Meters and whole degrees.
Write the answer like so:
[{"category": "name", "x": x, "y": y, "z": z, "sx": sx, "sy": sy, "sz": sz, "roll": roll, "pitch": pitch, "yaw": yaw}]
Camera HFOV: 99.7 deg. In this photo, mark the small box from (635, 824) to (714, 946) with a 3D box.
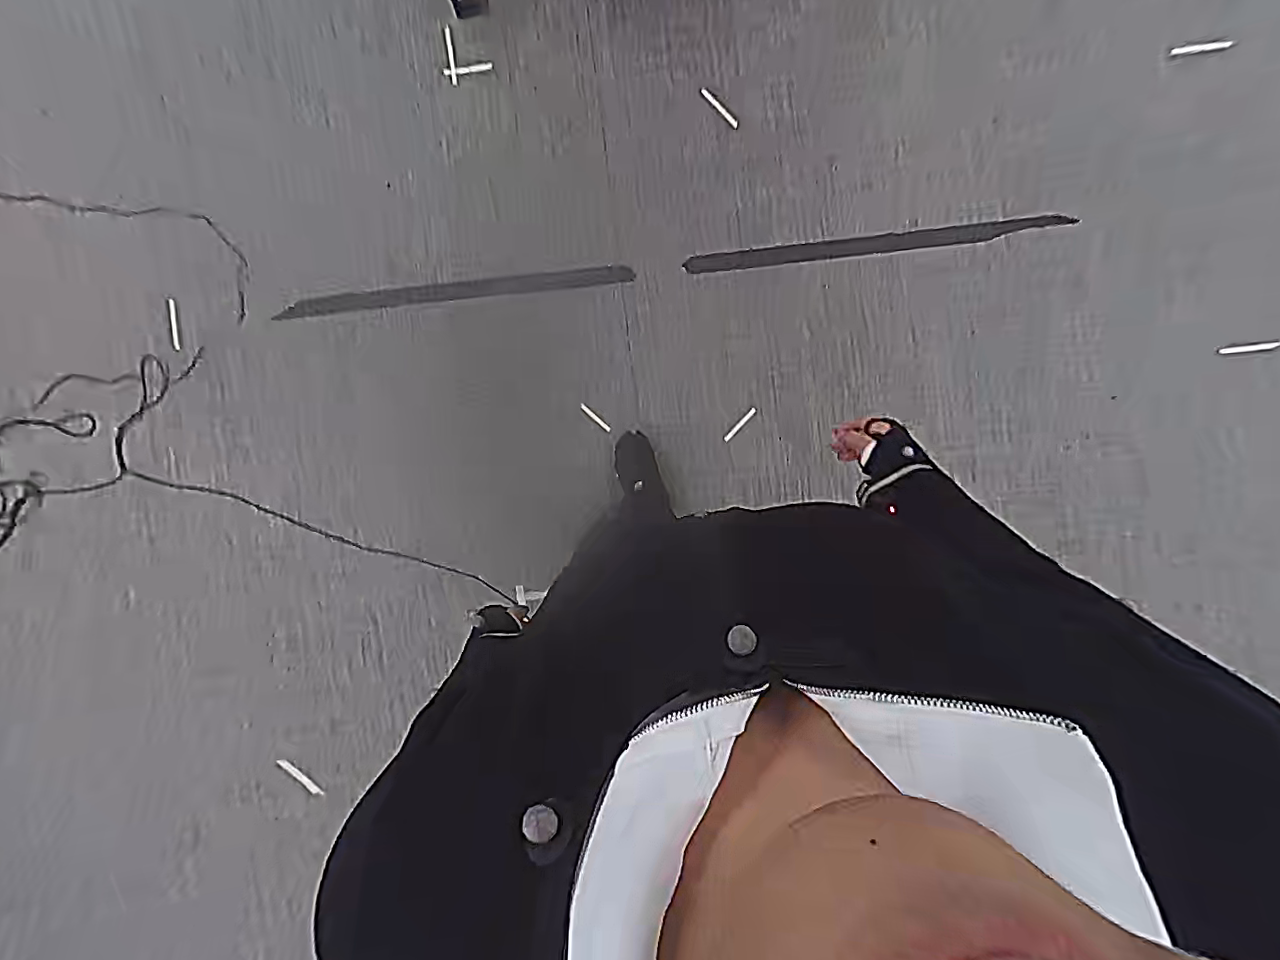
[{"category": "small box", "x": 0.079, "y": 0.973, "z": 1.320, "sx": 0.168, "sy": 0.176, "sz": 0.179, "roll": -8, "pitch": 90, "yaw": 1}]
